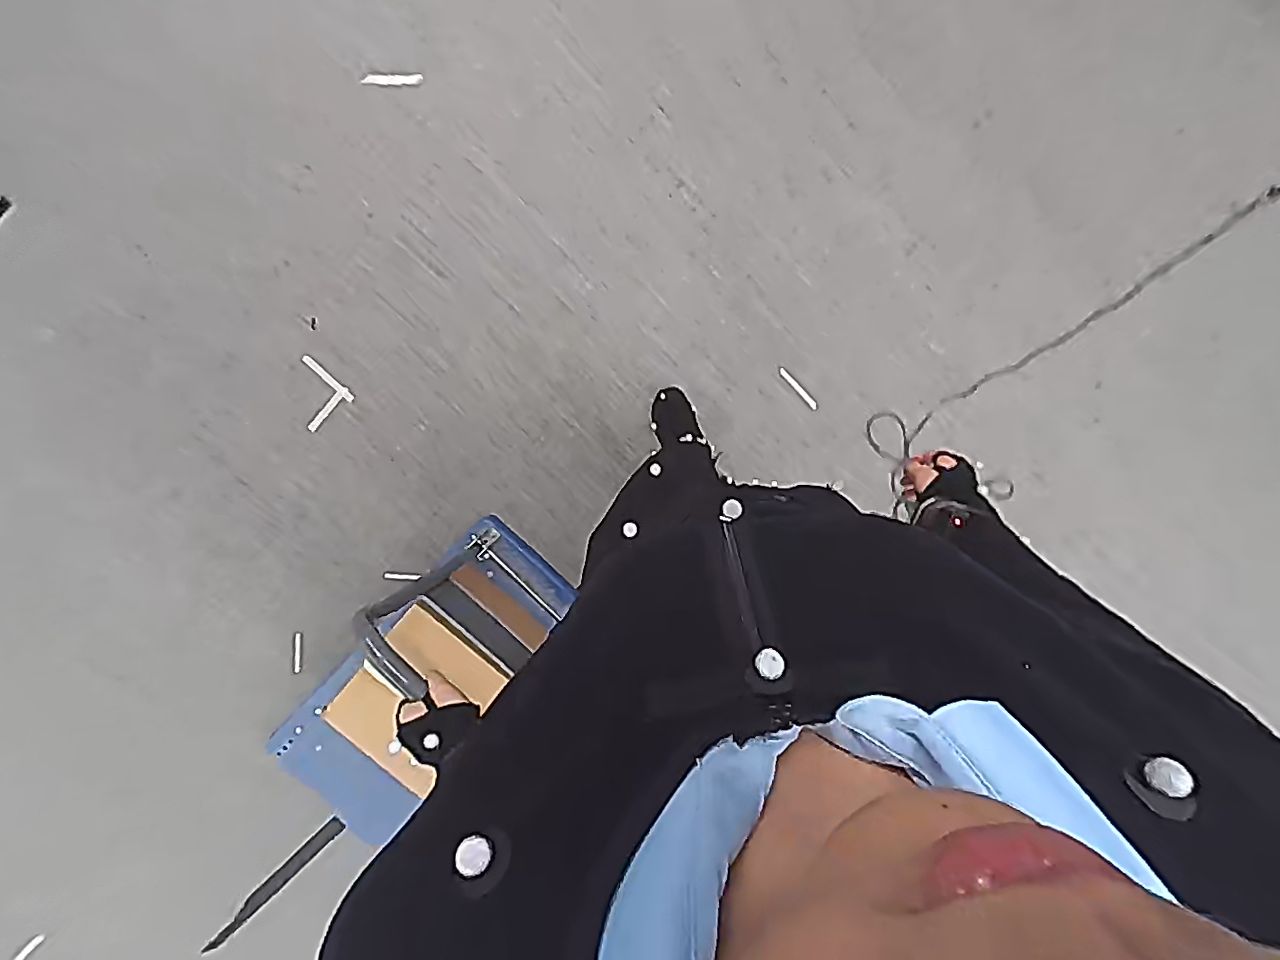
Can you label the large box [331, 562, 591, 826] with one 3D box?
[{"bbox_3d":[-0.374,0.457,1.233,0.408,0.320,0.320,41,95,-2],"label":"large box"}]
